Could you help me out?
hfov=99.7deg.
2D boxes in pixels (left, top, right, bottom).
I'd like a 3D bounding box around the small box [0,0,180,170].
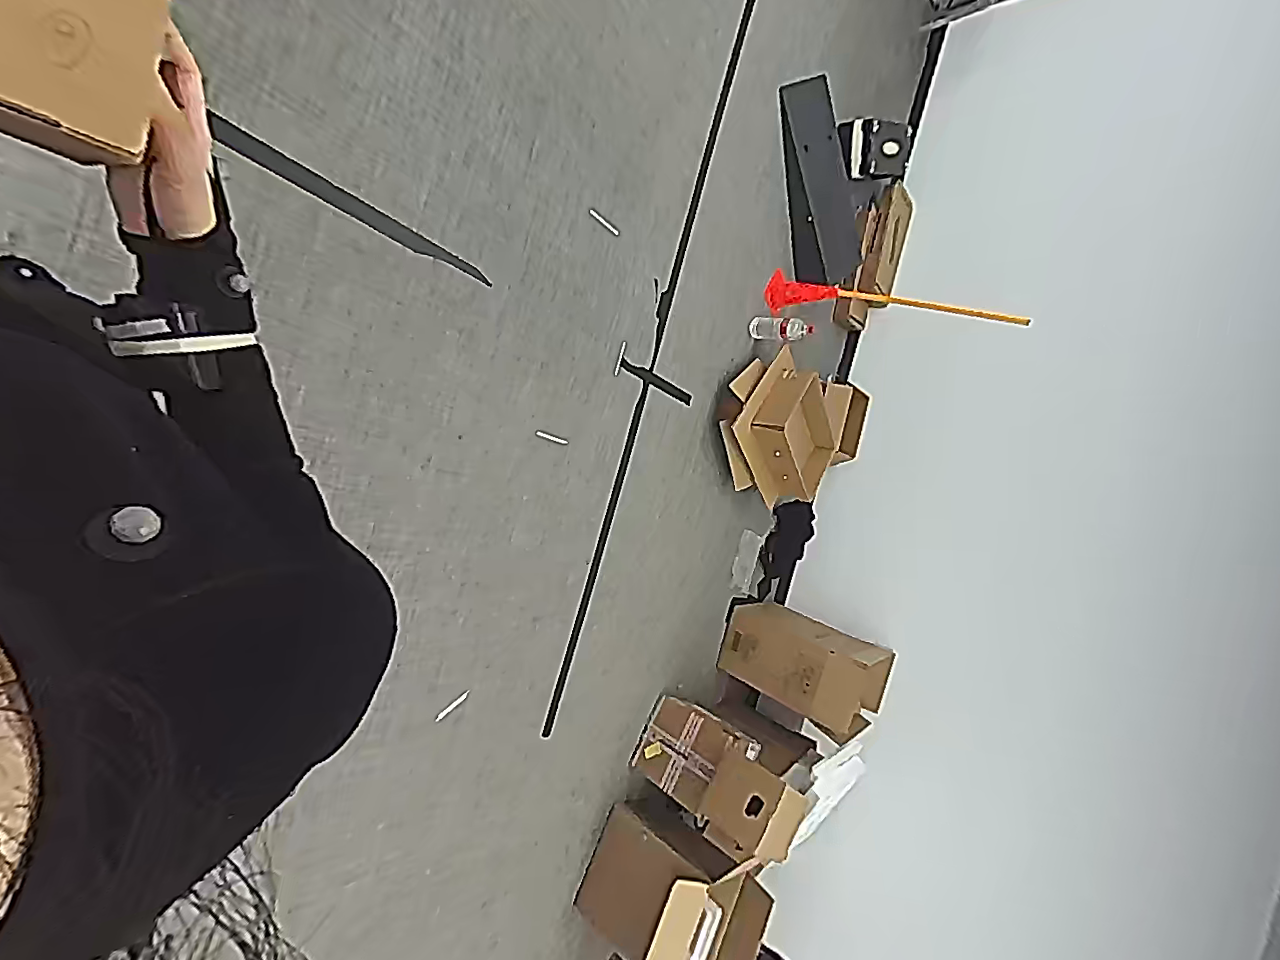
[{"bbox_3d":[-0.347,-0.280,0.262,0.168,0.176,0.179,6,105,-54],"label":"small box"}]
